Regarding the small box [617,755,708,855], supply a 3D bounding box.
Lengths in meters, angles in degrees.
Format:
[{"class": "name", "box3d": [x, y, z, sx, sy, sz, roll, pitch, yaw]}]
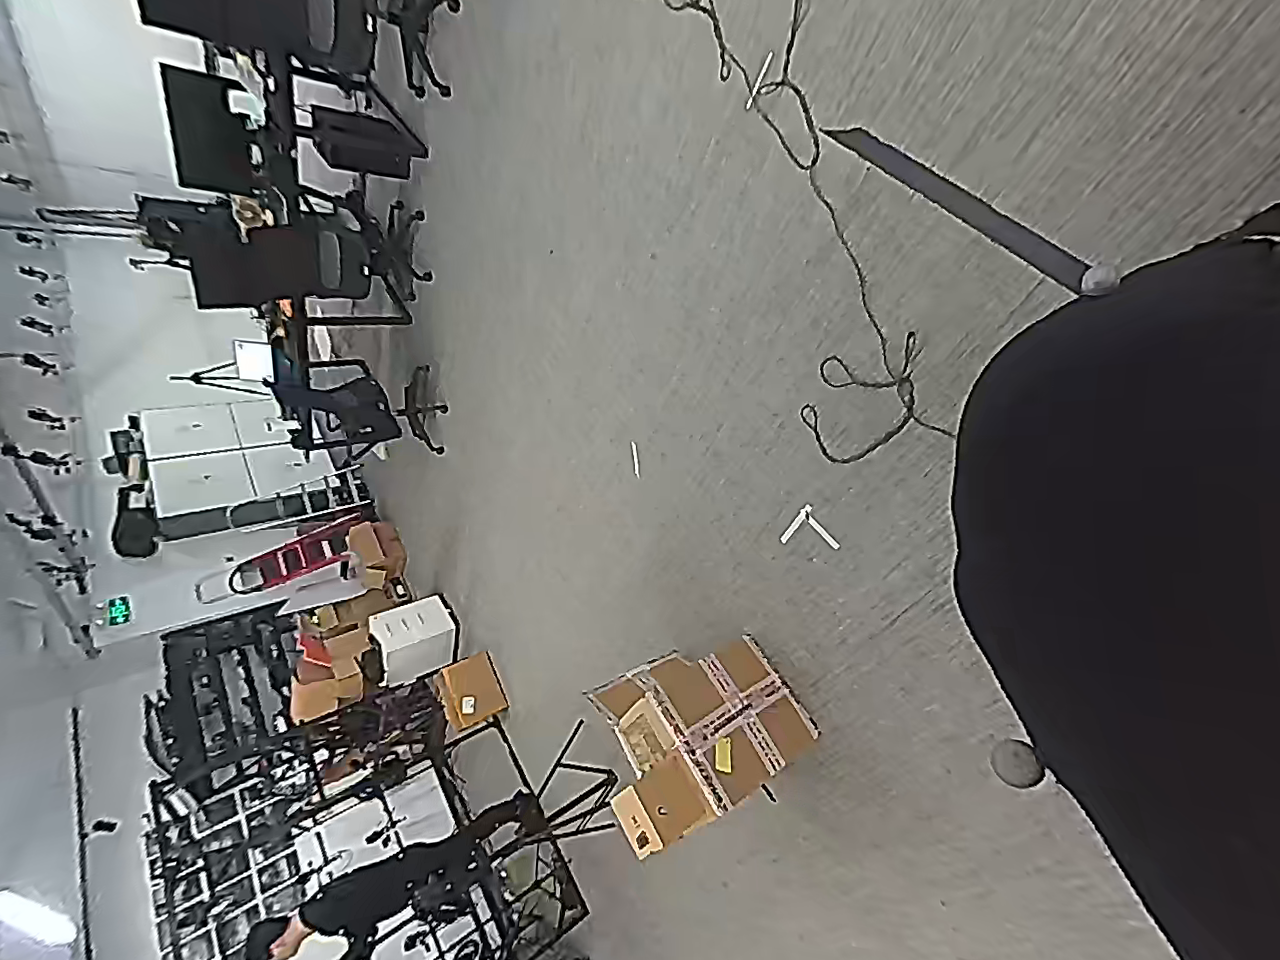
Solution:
[{"class": "small box", "box3d": [0.067, 0.945, 1.580, 0.179, 0.176, 0.168, 55, 135, 25]}]
